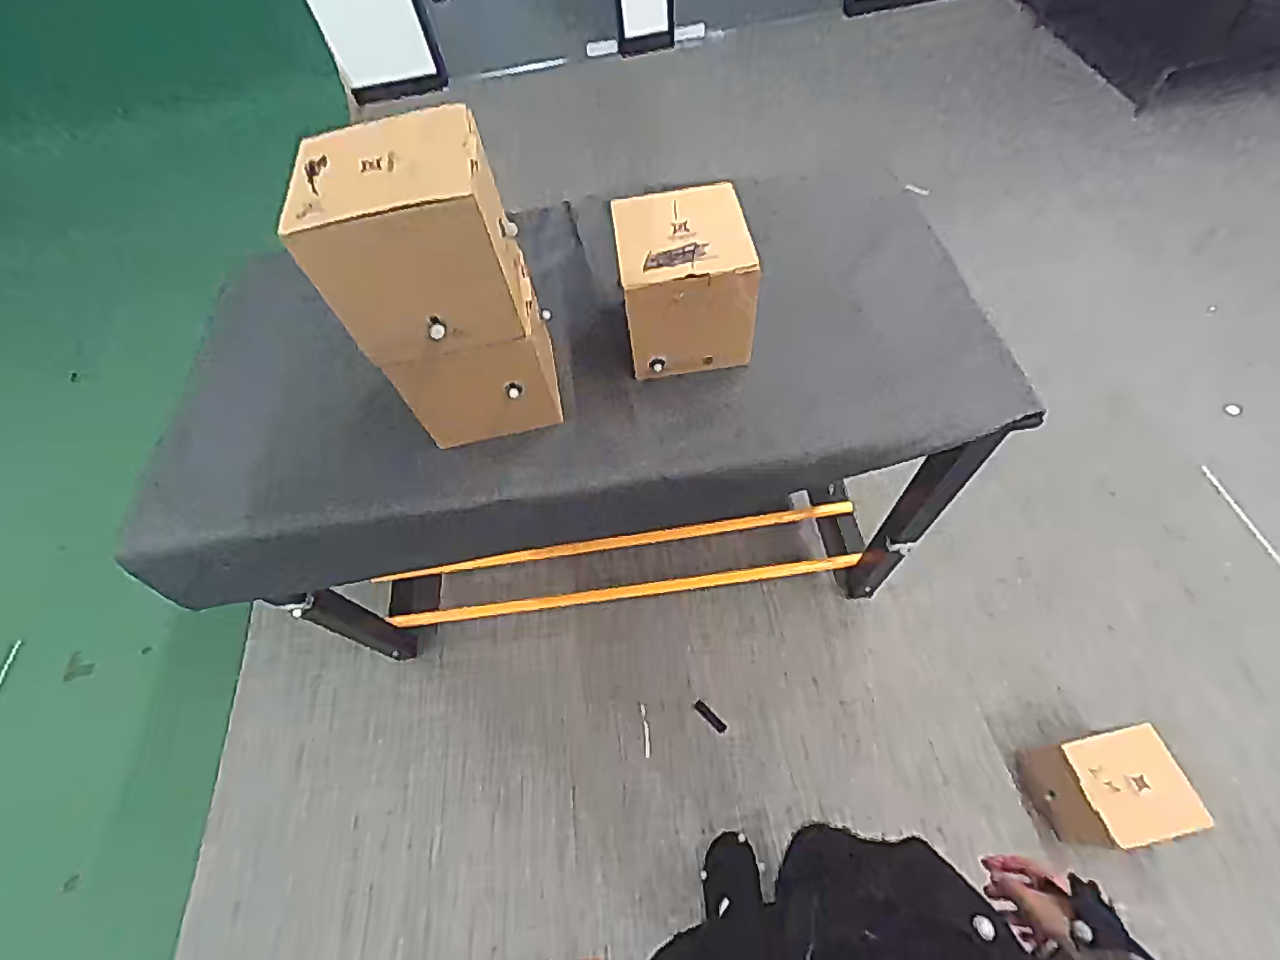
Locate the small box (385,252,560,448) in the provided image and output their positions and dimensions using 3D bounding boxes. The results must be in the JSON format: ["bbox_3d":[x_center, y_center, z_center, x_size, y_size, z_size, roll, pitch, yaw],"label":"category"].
[{"bbox_3d":[-0.209,-0.166,0.719,0.179,0.176,0.168,-13,58,0],"label":"small box"}]

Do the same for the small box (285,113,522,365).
[{"bbox_3d":[-0.230,-0.249,0.578,0.179,0.176,0.168,-12,58,-1],"label":"small box"}]

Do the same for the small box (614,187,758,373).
[{"bbox_3d":[0.061,-0.264,0.745,0.168,0.176,0.179,-8,58,2],"label":"small box"}]

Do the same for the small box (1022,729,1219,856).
[{"bbox_3d":[0.870,0.575,1.003,0.179,0.176,0.168,-14,58,-1],"label":"small box"}]
